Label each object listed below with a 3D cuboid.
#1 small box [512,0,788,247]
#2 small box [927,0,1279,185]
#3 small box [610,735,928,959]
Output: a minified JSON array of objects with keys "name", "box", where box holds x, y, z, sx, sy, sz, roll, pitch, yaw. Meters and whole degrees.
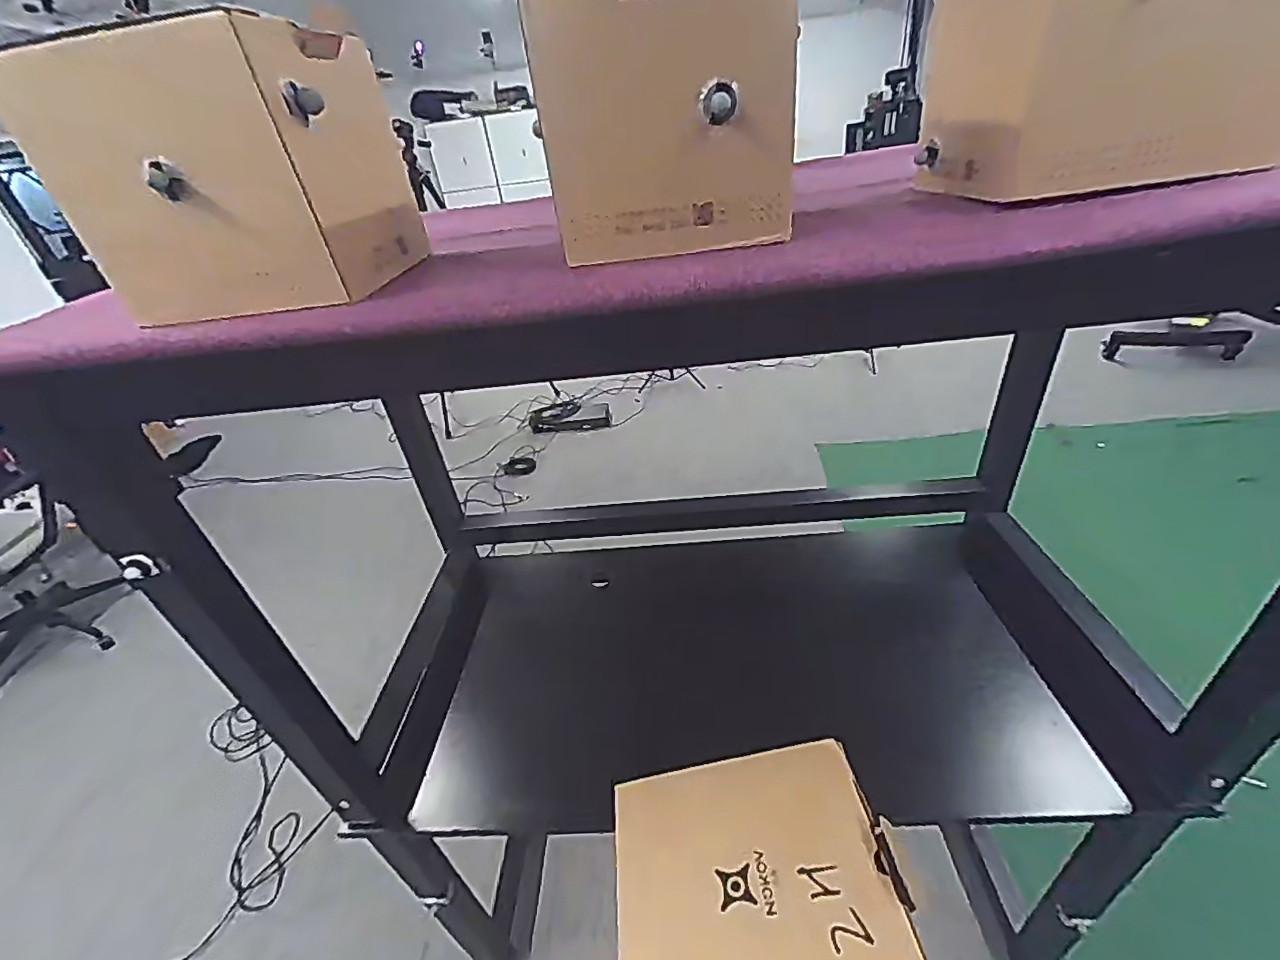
[{"name":"small box","box":[0.018,-0.283,0.412,0.168,0.176,0.179,-3,33,6]},{"name":"small box","box":[0.328,-0.318,0.389,0.179,0.176,0.168,-5,31,5]},{"name":"small box","box":[0.087,0.314,0.372,0.179,0.176,0.168,-15,31,5]}]
